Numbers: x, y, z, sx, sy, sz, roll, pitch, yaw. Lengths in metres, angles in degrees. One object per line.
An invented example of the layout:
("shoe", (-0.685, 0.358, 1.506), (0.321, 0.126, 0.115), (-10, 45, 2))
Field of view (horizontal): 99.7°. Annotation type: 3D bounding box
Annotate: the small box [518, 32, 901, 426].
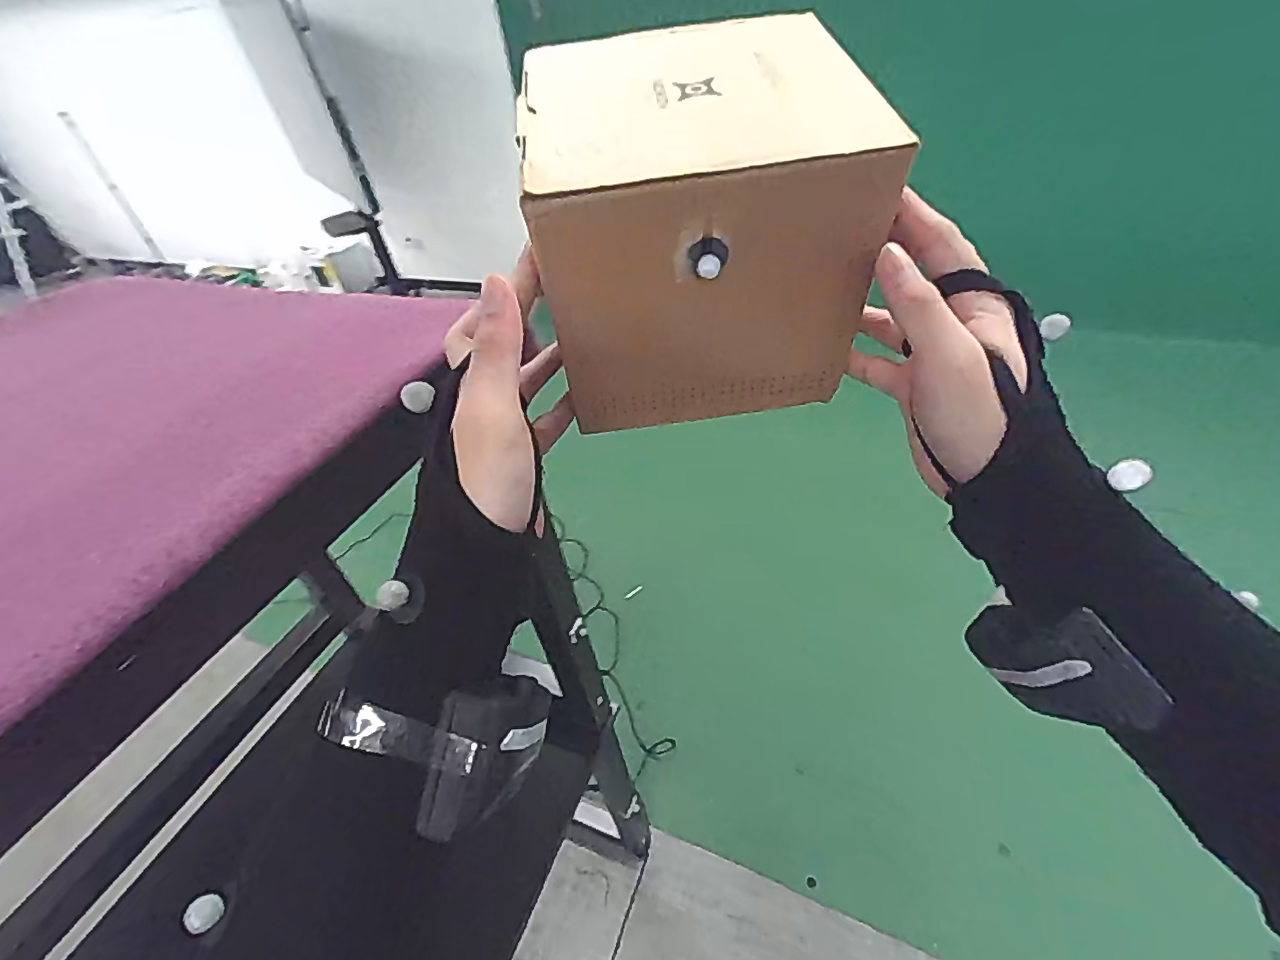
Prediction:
("small box", (0.033, -0.150, 0.351), (0.179, 0.176, 0.168), (-6, 56, 1))
